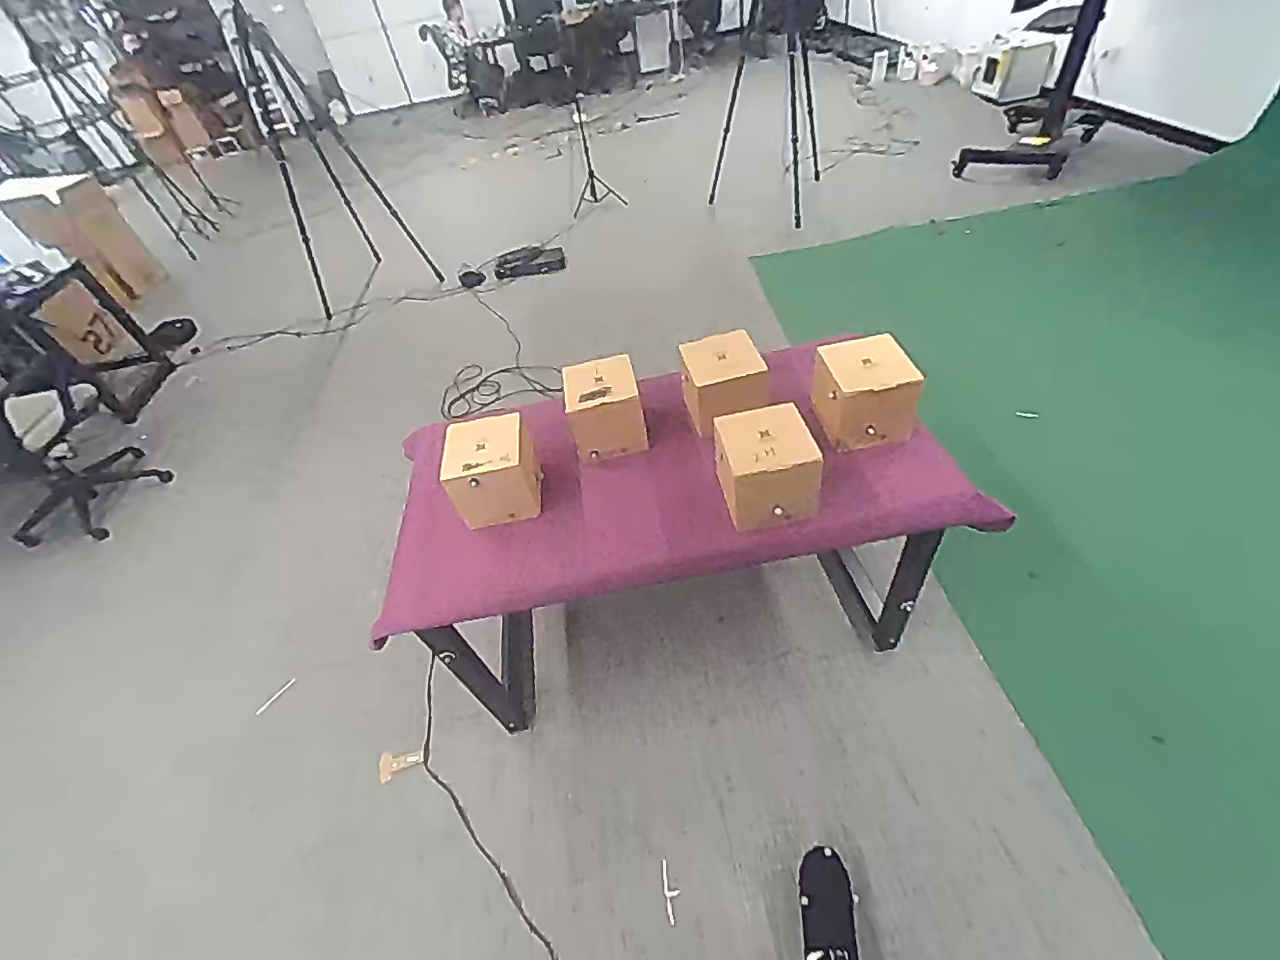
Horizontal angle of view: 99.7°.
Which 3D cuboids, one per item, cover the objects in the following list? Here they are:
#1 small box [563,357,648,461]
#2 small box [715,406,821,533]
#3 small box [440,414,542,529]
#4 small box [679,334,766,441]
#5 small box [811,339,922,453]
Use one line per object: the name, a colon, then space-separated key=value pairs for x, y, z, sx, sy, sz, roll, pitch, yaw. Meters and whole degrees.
small box: x=-0.082 y=-0.164 z=1.299 sx=0.168 sy=0.176 sz=0.179 roll=-12 pitch=45 yaw=-1
small box: x=0.250 y=-0.020 z=1.093 sx=0.168 sy=0.176 sz=0.179 roll=-11 pitch=45 yaw=2
small box: x=-0.322 y=-0.017 z=1.205 sx=0.168 sy=0.176 sz=0.179 roll=-12 pitch=45 yaw=2
small box: x=0.196 y=-0.221 z=1.298 sx=0.168 sy=0.176 sz=0.179 roll=-13 pitch=46 yaw=0
small box: x=0.491 y=-0.186 z=1.204 sx=0.168 sy=0.176 sz=0.179 roll=-11 pitch=47 yaw=2
